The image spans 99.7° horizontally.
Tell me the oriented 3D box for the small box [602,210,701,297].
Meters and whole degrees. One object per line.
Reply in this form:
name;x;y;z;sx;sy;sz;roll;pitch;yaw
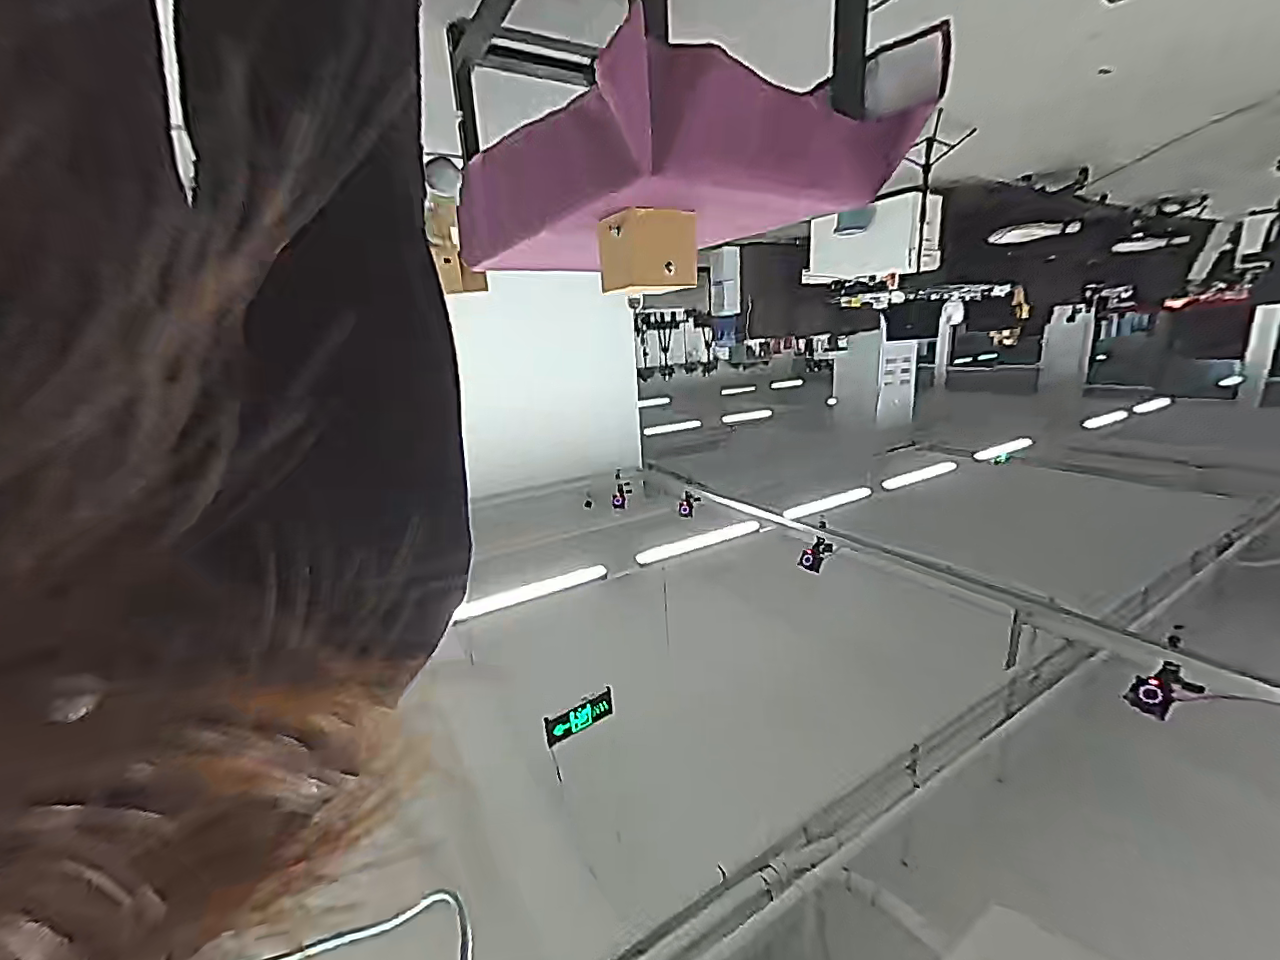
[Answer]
small box;0.026;-0.529;1.273;0.179;0.176;0.168;-12;-163;-30
